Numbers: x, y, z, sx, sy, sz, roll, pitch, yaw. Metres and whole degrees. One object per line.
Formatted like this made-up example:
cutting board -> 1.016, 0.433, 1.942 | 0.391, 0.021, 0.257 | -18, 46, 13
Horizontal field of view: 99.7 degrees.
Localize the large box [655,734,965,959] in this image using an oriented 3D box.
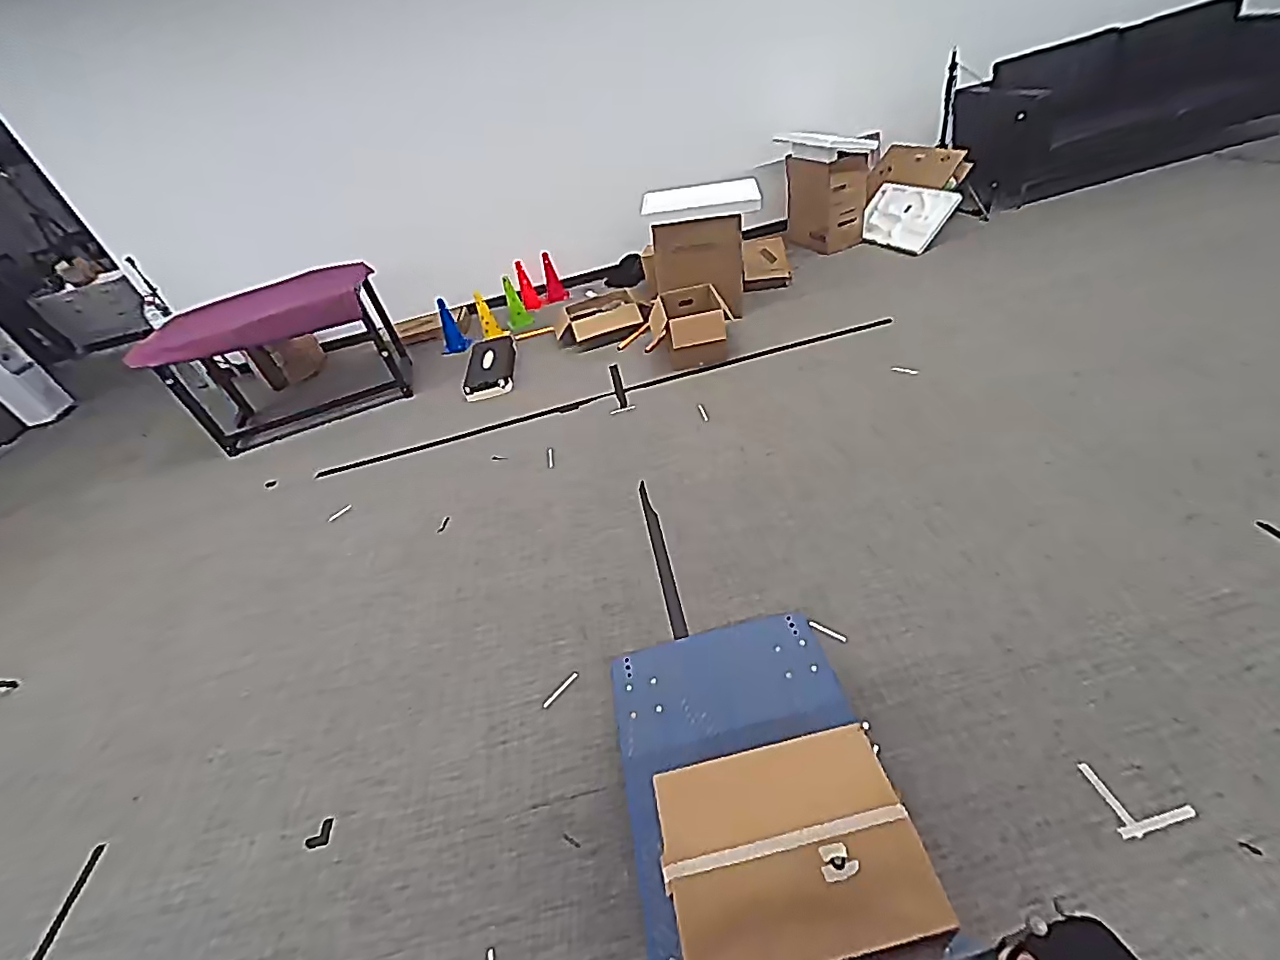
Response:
large box -> 0.269, 0.719, 0.960 | 0.408, 0.320, 0.320 | -14, 39, -1
